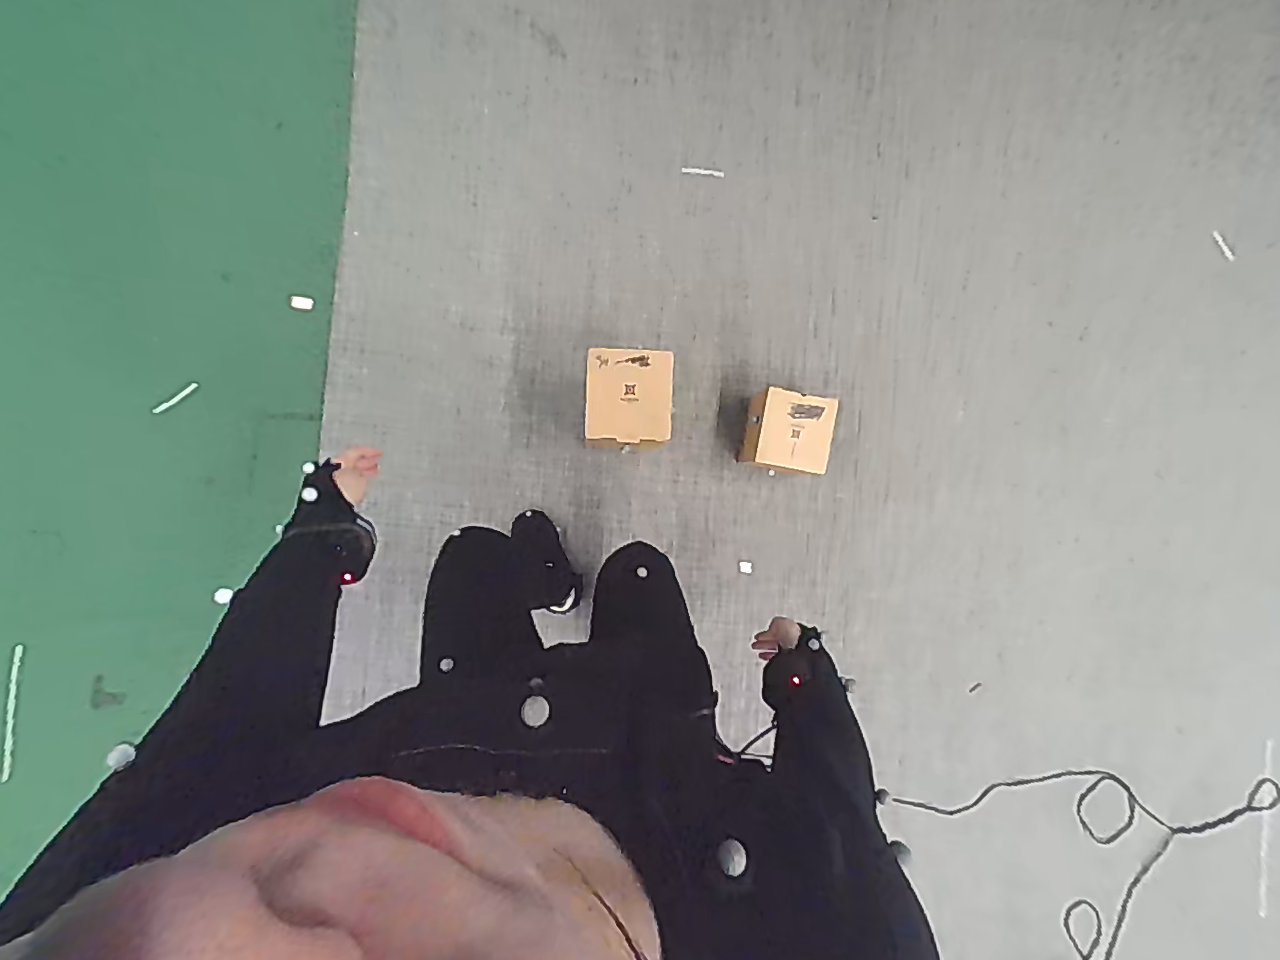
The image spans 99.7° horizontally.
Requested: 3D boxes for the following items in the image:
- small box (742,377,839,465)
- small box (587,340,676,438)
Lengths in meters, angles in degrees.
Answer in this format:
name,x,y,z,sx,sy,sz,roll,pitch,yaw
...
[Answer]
name,x,y,z,sx,sy,sz,roll,pitch,yaw
small box,0.352,-0.135,1.296,0.168,0.176,0.179,10,91,-3
small box,-0.019,-0.179,1.108,0.168,0.176,0.179,2,91,-3
